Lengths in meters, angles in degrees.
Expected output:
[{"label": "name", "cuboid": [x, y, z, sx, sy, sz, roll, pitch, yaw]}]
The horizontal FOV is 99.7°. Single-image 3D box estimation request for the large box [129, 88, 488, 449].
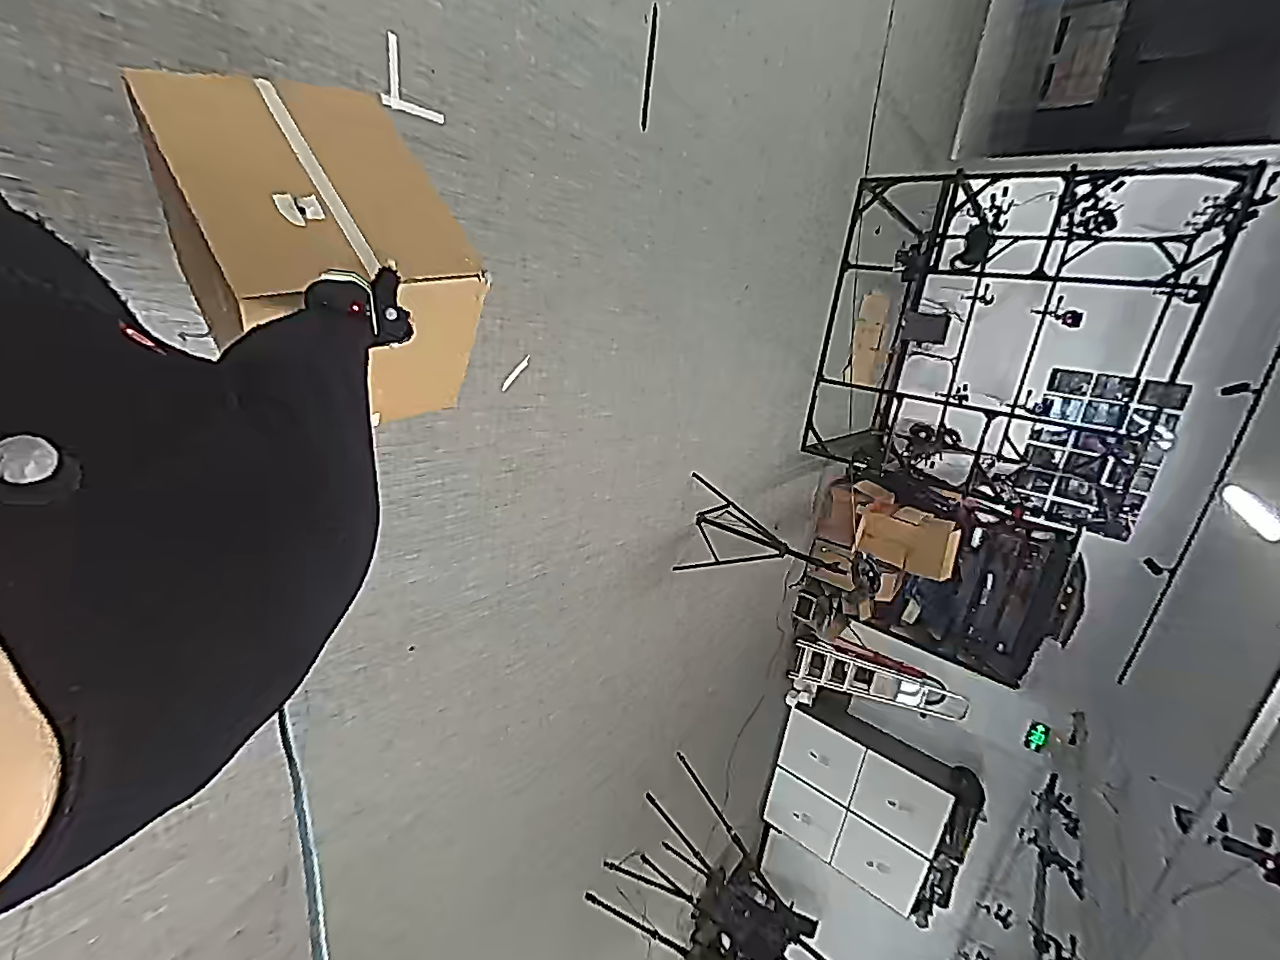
[{"label": "large box", "cuboid": [-0.509, -0.324, 0.864, 0.320, 0.408, 0.320, -25, 165, -37]}]
